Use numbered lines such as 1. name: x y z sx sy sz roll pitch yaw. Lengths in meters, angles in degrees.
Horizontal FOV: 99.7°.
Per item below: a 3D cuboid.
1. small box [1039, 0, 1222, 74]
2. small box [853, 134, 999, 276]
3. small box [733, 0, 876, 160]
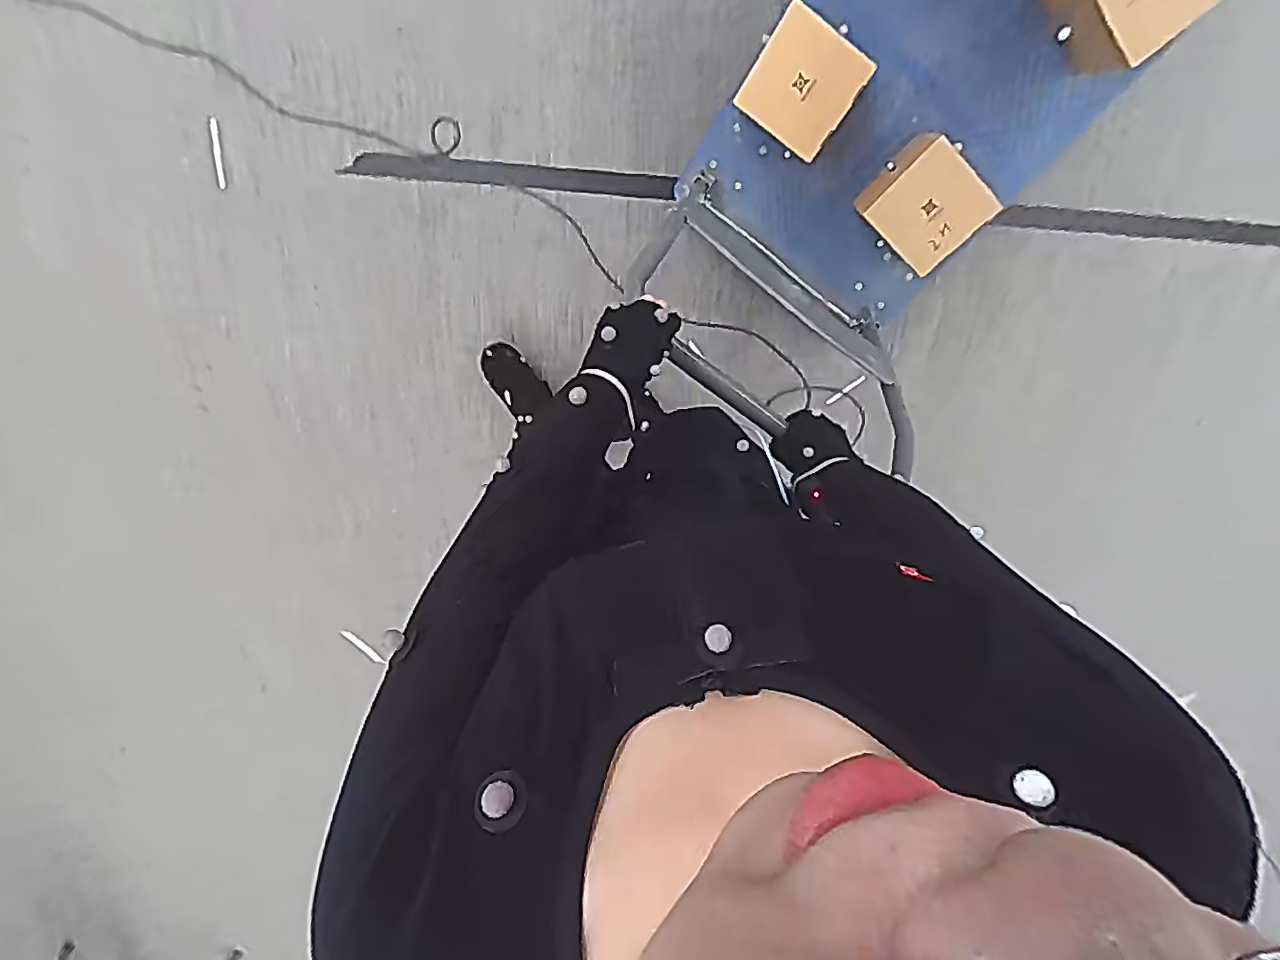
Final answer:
1. small box: 0.773 -0.772 0.833 0.179 0.176 0.168 -36 110 30
2. small box: 0.539 -0.532 1.045 0.179 0.176 0.168 39 123 -14
3. small box: 0.287 -0.714 0.979 0.179 0.176 0.168 31 124 -11
